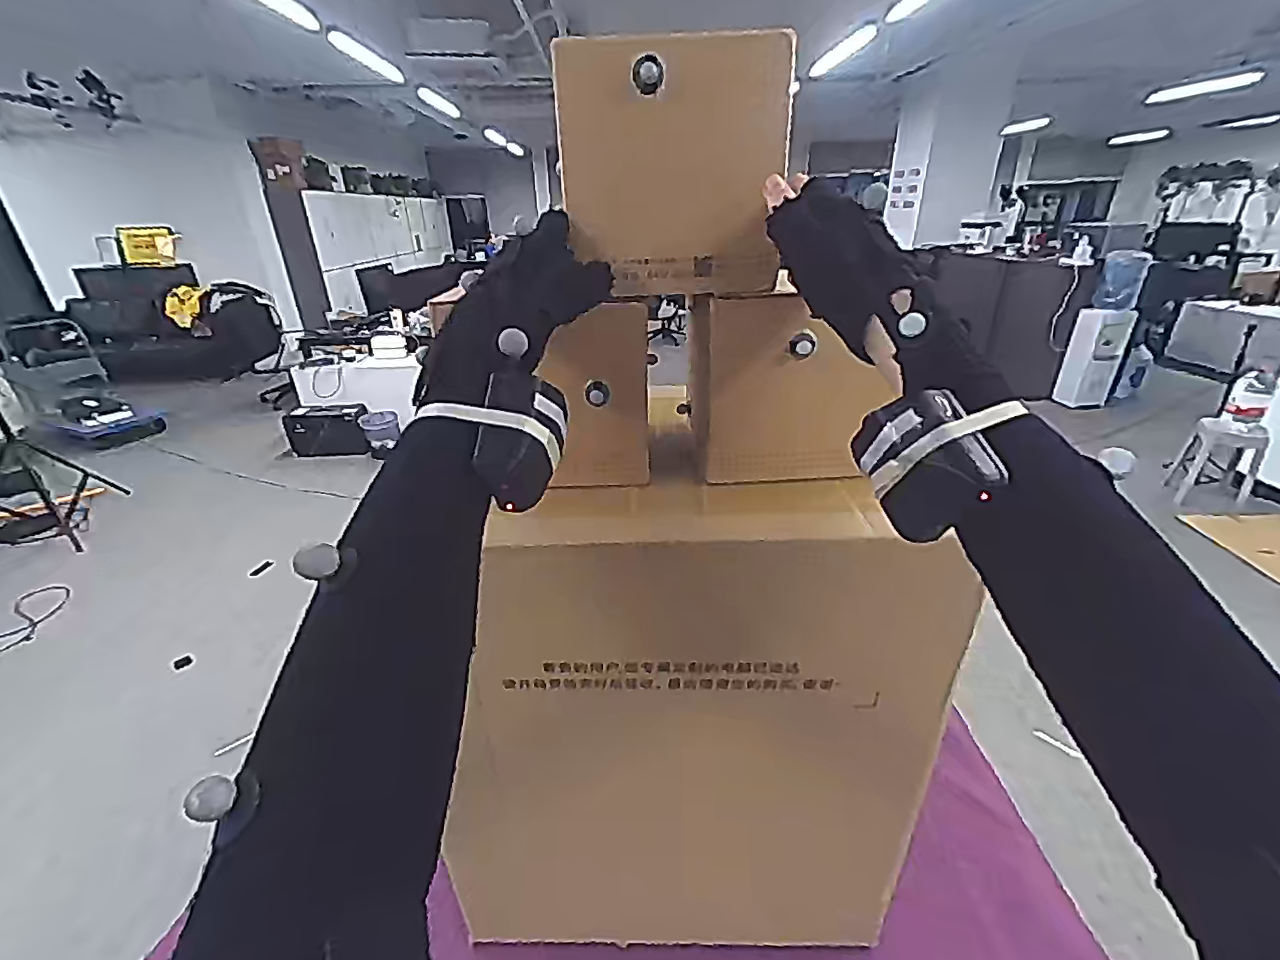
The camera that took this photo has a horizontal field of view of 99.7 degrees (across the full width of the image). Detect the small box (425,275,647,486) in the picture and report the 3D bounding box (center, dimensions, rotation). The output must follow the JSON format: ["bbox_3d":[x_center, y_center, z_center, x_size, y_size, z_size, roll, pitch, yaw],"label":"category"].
[{"bbox_3d":[-0.084,-0.103,0.531,0.179,0.176,0.168,-2,25,-2],"label":"small box"}]

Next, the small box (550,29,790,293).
[{"bbox_3d":[0.020,-0.258,0.471,0.168,0.176,0.179,-3,25,-1],"label":"small box"}]

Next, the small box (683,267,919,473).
[{"bbox_3d":[0.139,-0.112,0.534,0.179,0.176,0.168,-3,26,-2],"label":"small box"}]
